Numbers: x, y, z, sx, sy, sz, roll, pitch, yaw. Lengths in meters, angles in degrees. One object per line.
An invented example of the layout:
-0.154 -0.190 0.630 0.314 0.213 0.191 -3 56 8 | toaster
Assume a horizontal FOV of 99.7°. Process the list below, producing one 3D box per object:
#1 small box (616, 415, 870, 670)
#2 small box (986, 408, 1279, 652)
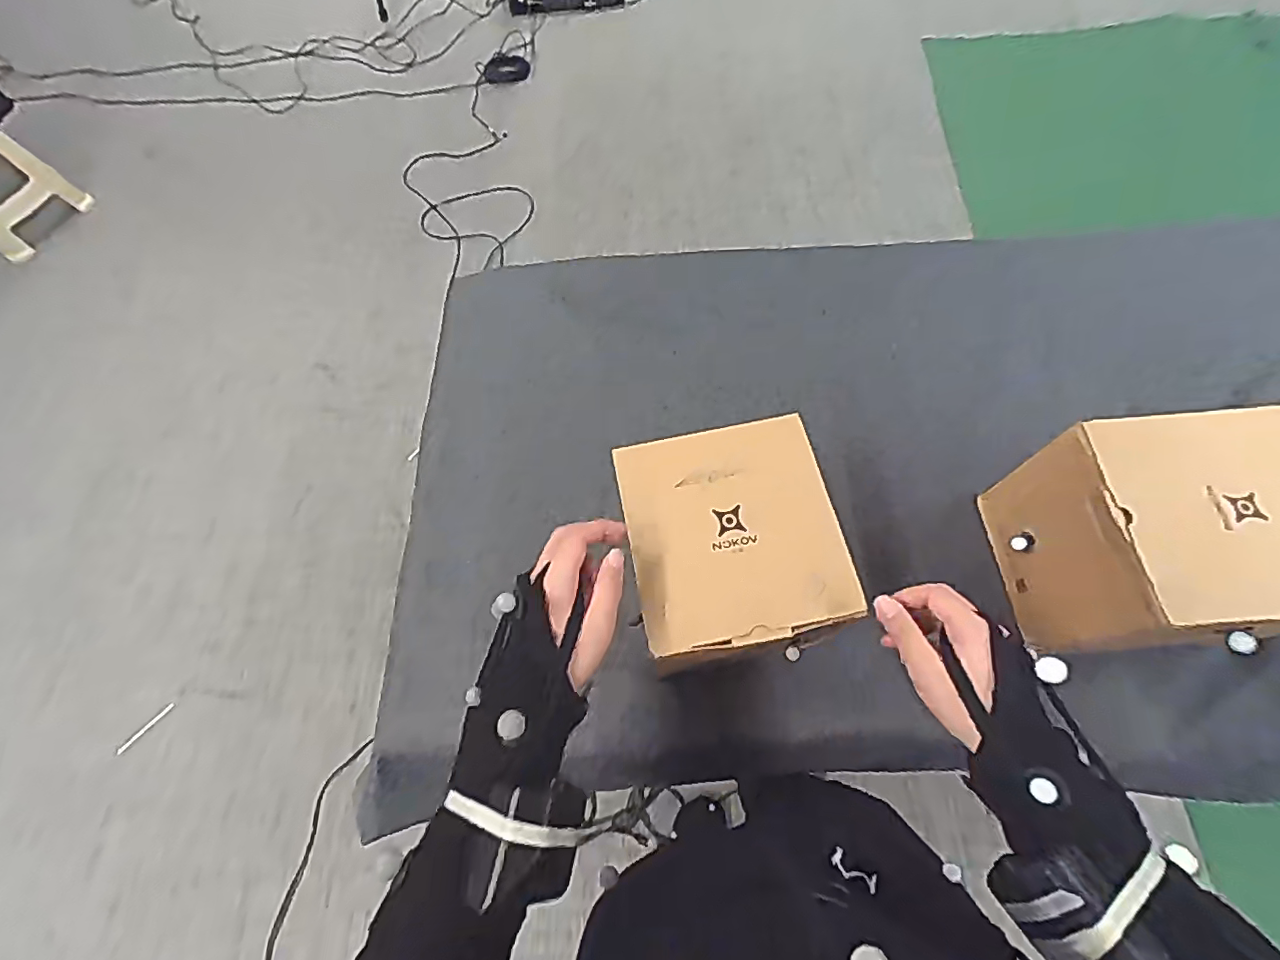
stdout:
0.079 0.069 0.495 0.168 0.176 0.179 -11 64 -2 | small box
0.452 0.053 0.472 0.179 0.176 0.168 -4 66 2 | small box
